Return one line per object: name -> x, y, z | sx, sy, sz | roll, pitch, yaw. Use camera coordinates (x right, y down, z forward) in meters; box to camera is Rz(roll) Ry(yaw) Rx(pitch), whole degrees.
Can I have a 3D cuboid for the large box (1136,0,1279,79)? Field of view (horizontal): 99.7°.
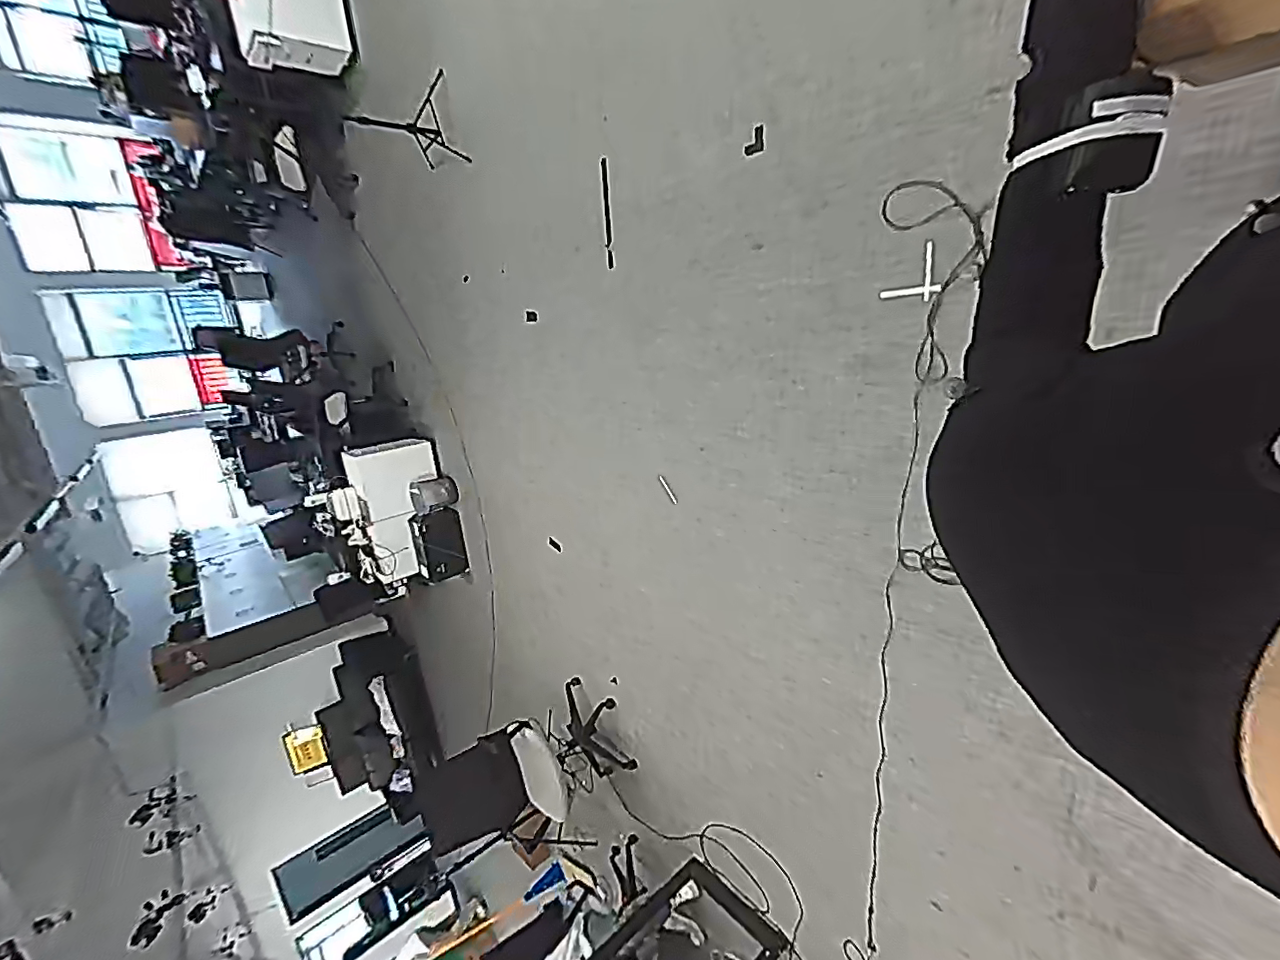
large box -> 0.553, -0.468, 0.270 | 0.408, 0.320, 0.320 | 12, 121, 47
